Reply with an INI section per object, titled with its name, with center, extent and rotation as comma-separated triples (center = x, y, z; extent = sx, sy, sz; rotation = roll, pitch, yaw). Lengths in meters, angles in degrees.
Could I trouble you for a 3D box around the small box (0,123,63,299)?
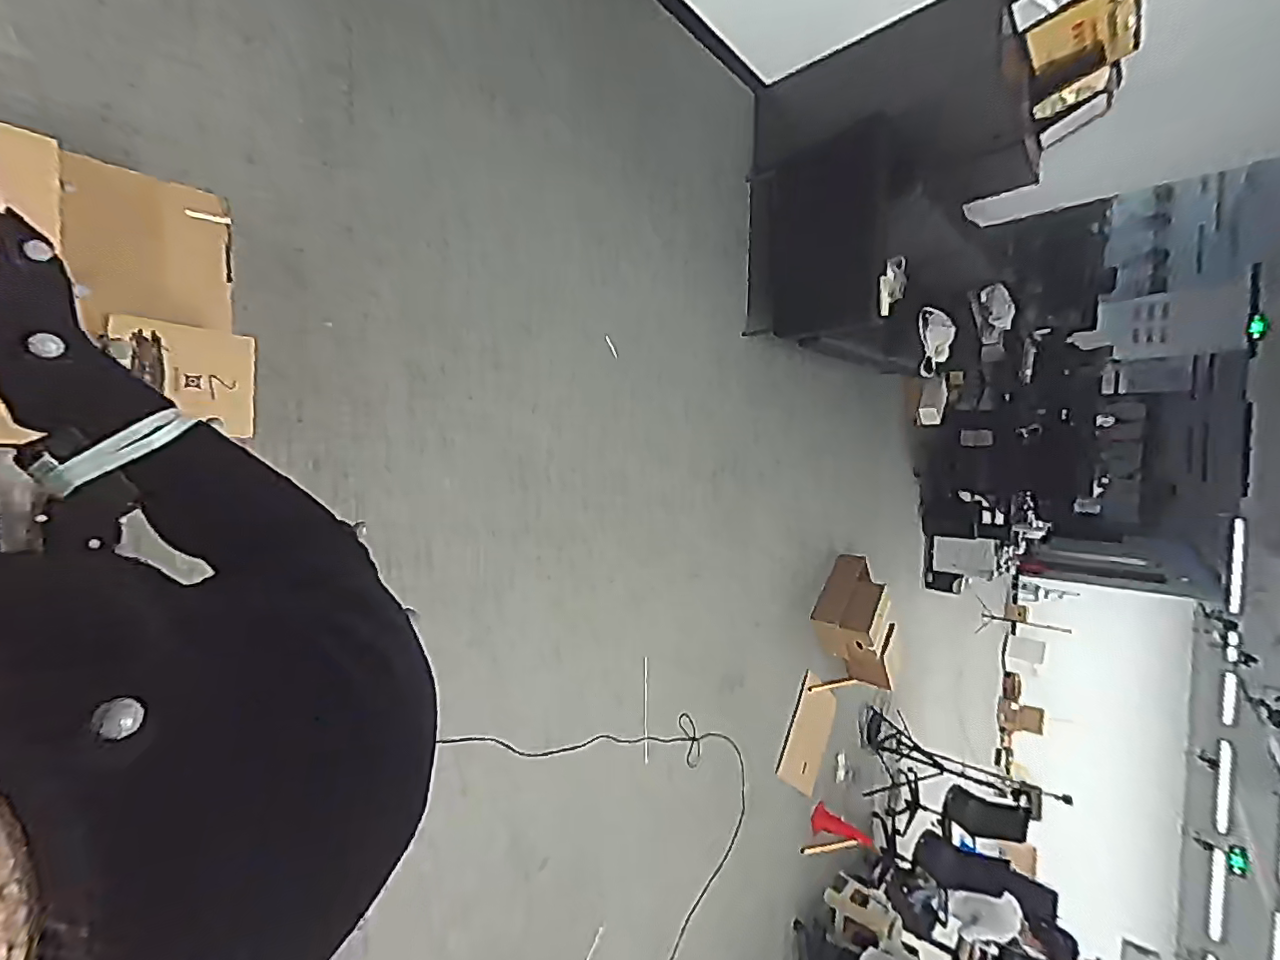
[small box]
center = -0.888, -0.362, 0.715
extent = 0.168, 0.176, 0.179
rotation = -2, 90, -47
